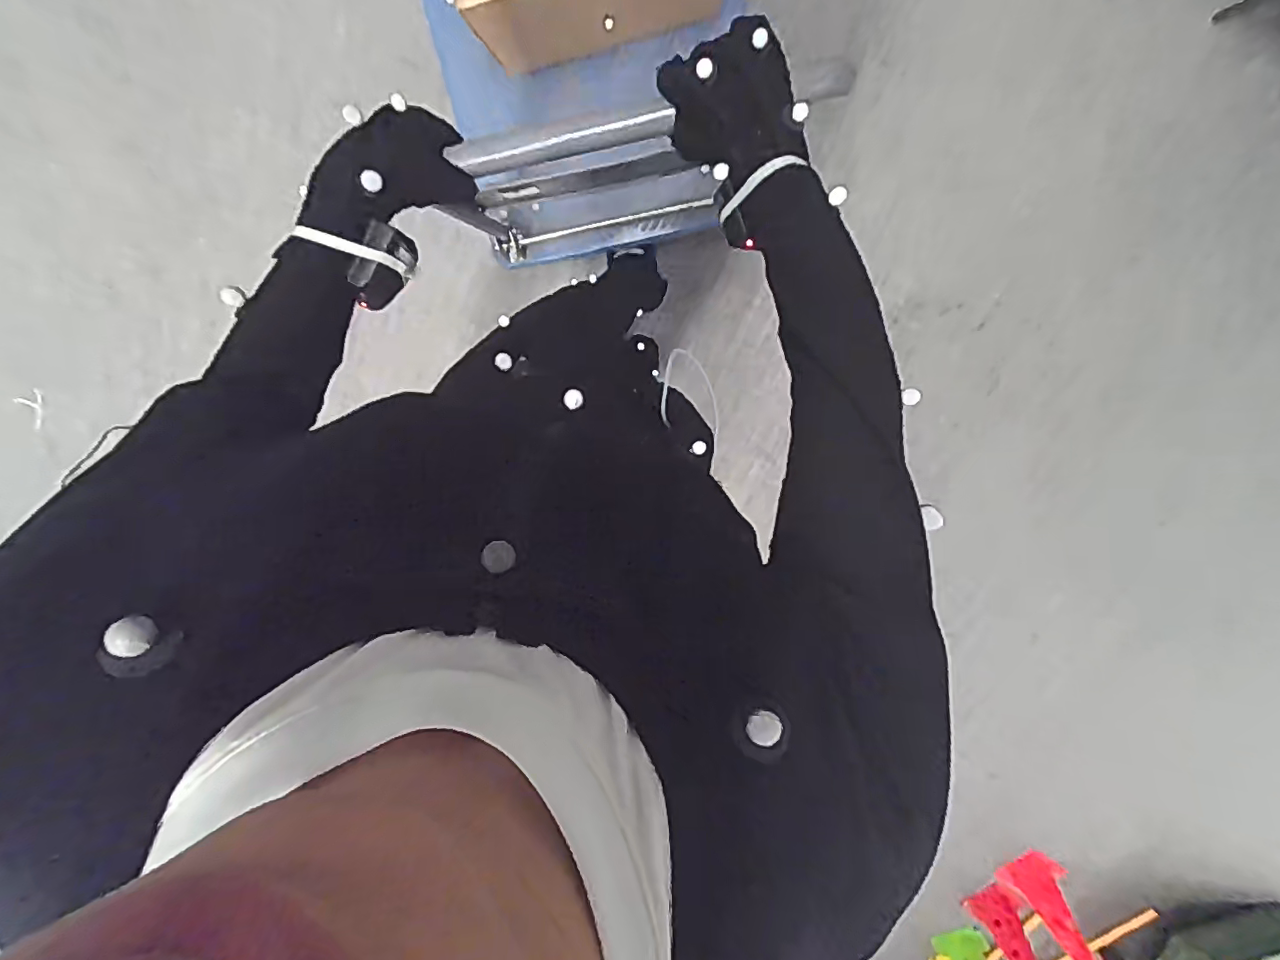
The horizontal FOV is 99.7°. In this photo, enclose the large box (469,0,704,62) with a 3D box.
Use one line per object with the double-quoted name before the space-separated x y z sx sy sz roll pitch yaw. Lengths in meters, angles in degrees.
"large box" -0.080 -0.909 0.812 0.408 0.320 0.320 -12 112 8
